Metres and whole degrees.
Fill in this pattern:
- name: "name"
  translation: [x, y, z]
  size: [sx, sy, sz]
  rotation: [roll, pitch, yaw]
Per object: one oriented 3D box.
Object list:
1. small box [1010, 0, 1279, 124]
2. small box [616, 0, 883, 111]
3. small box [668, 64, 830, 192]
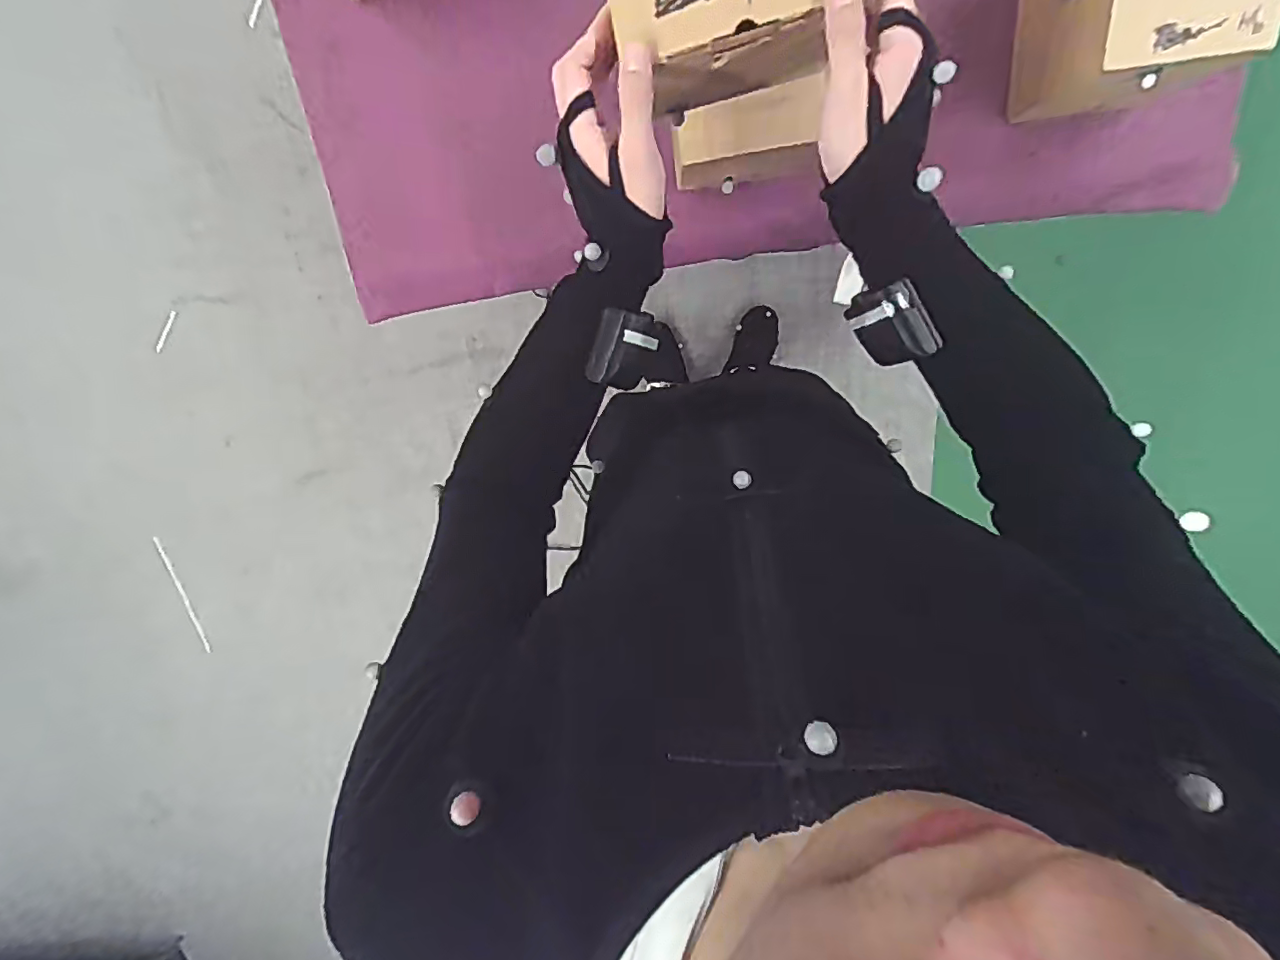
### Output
- name: "small box"
  translation: [0.545, -0.526, 0.596]
  size: [0.168, 0.176, 0.179]
  rotation: [-4, 107, 5]
- name: "small box"
  translation: [0.063, -0.388, 0.384]
  size: [0.168, 0.176, 0.179]
  rotation: [-9, 112, 9]
- name: "small box"
  translation: [0.116, -0.460, 0.636]
  size: [0.168, 0.176, 0.179]
  rotation: [-6, 109, 5]
